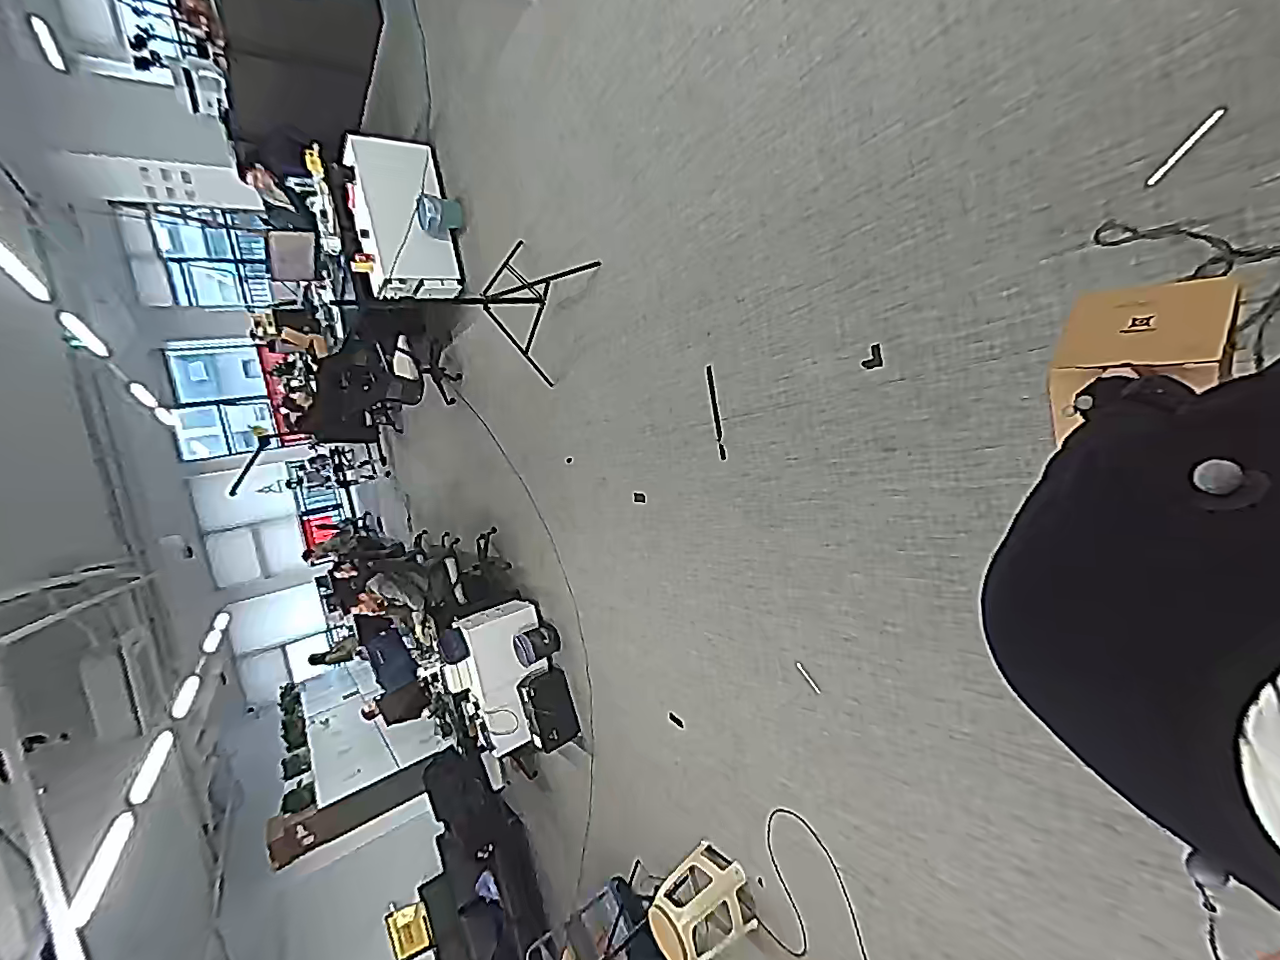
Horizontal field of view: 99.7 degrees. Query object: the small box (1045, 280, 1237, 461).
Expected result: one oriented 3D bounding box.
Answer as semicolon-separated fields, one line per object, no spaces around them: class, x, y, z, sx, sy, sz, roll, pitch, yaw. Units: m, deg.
small box;0.696;-0.145;0.754;0.168;0.179;0.176;10;144;48
